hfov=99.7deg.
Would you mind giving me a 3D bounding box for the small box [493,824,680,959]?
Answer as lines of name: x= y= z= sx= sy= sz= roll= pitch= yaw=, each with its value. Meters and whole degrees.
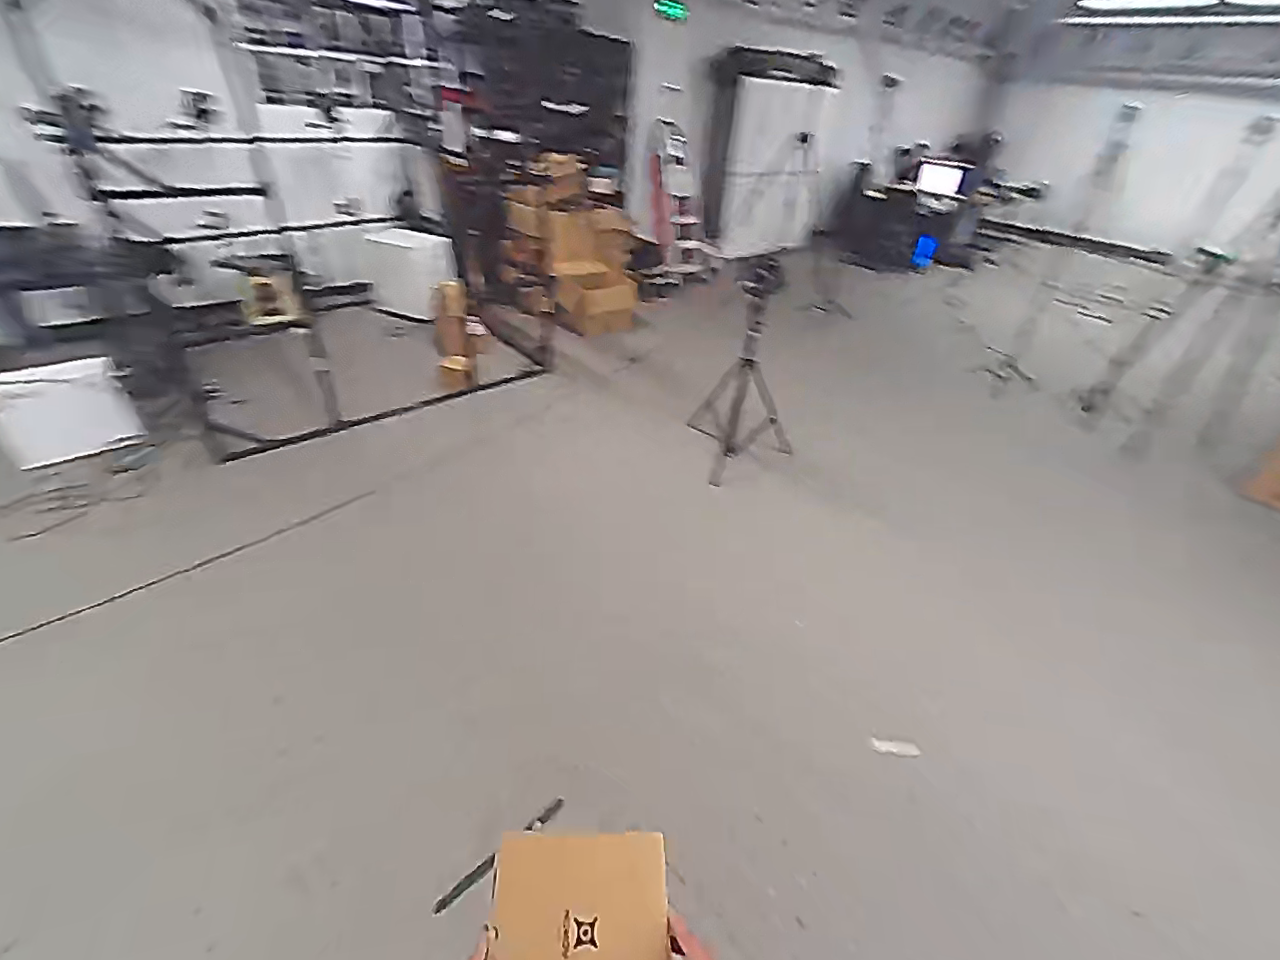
small box: x=-0.063 y=0.480 z=0.573 sx=0.179 sy=0.176 sz=0.168 roll=6 pitch=45 yaw=-8
